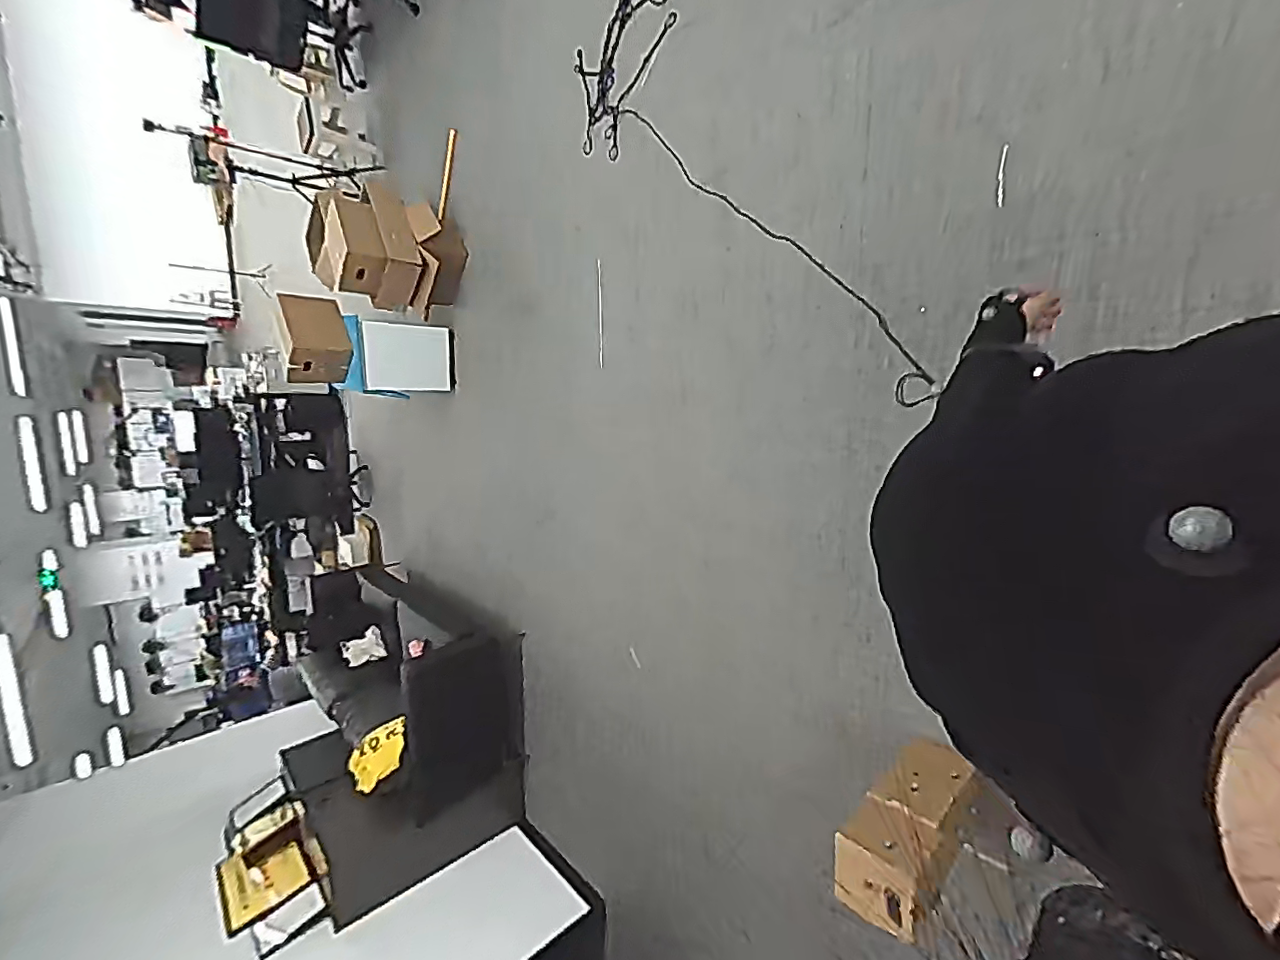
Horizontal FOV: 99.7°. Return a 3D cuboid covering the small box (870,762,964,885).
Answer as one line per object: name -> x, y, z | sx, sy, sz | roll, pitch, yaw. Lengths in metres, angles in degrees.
small box -> 0.684, 0.840, 1.337 | 0.168, 0.176, 0.179 | 6, 100, 48

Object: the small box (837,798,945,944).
small box -> 0.568, 0.865, 1.221 | 0.179, 0.176, 0.168 | 7, 102, 48
